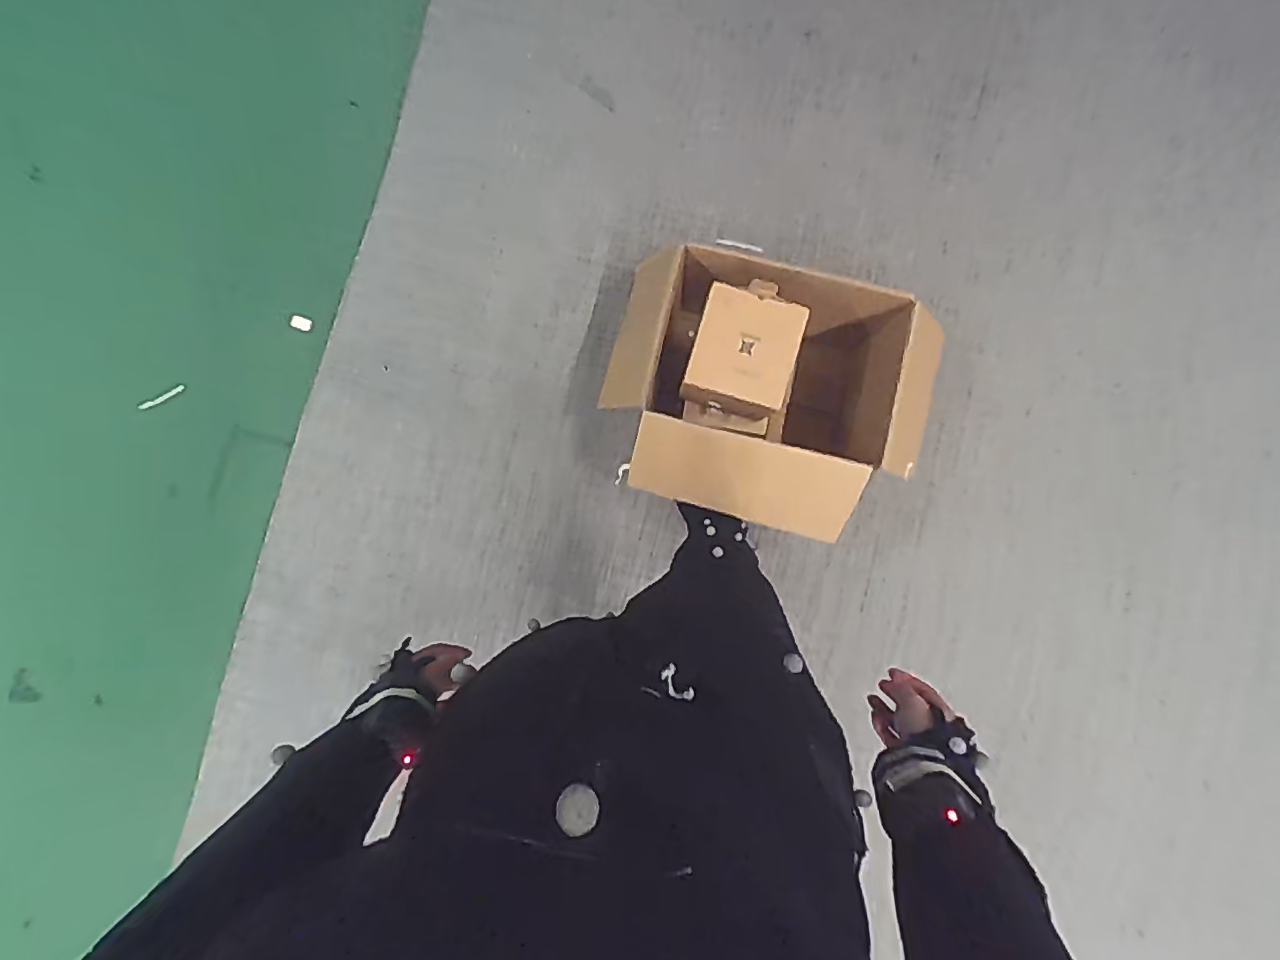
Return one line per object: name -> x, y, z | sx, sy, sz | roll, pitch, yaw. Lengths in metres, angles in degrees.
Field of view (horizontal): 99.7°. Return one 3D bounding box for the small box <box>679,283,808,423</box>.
small box -> 0.172, -0.215, 0.960 | 0.168, 0.176, 0.179 | 18, 89, 0
